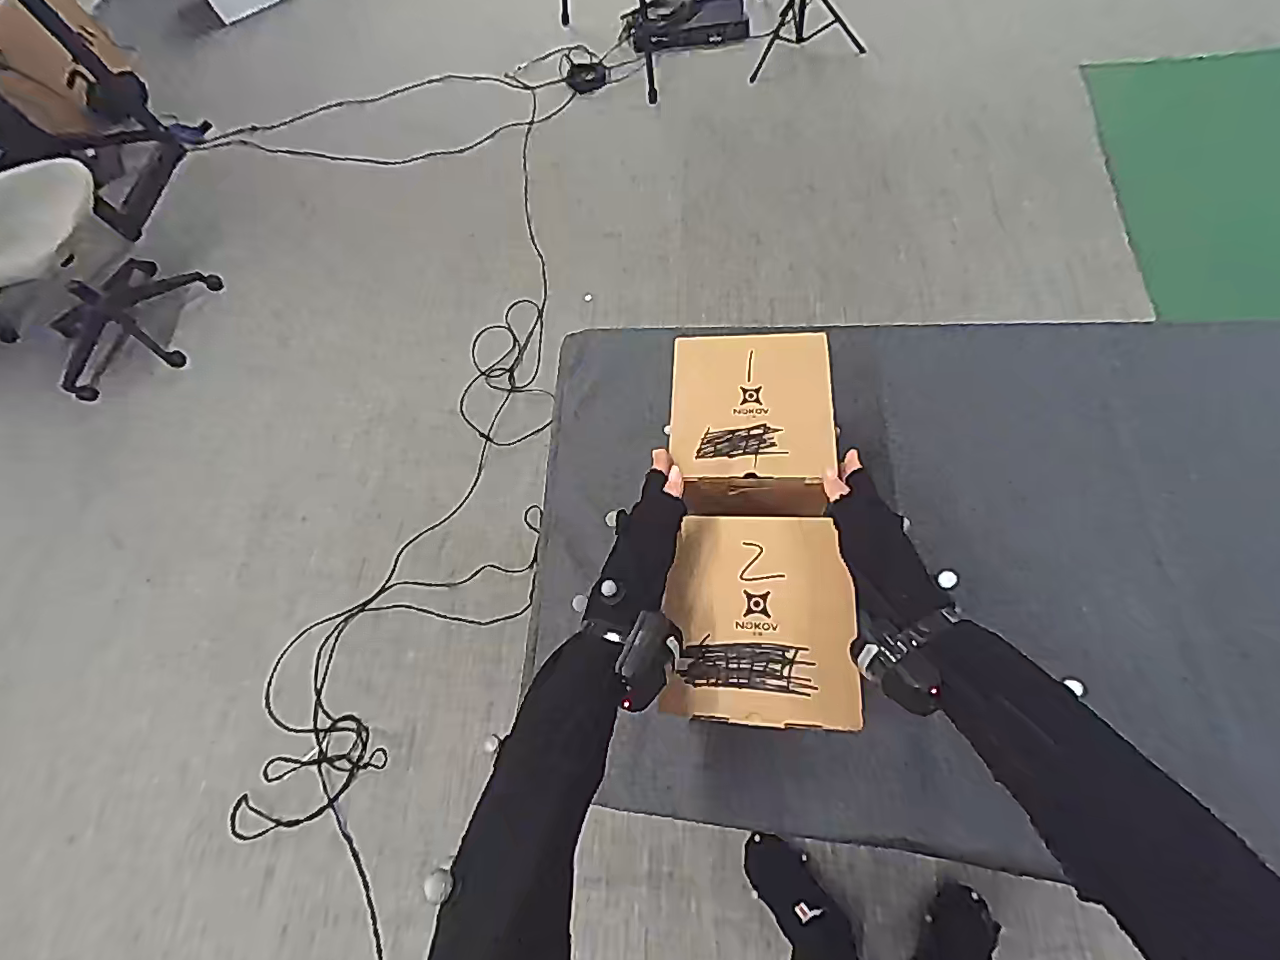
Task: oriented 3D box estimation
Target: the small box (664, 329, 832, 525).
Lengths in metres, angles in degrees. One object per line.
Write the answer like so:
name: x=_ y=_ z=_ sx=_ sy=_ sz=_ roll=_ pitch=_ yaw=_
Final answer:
small box: x=0.123 y=-0.052 z=0.632 sx=0.168 sy=0.176 sz=0.179 roll=1 pitch=67 yaw=9
